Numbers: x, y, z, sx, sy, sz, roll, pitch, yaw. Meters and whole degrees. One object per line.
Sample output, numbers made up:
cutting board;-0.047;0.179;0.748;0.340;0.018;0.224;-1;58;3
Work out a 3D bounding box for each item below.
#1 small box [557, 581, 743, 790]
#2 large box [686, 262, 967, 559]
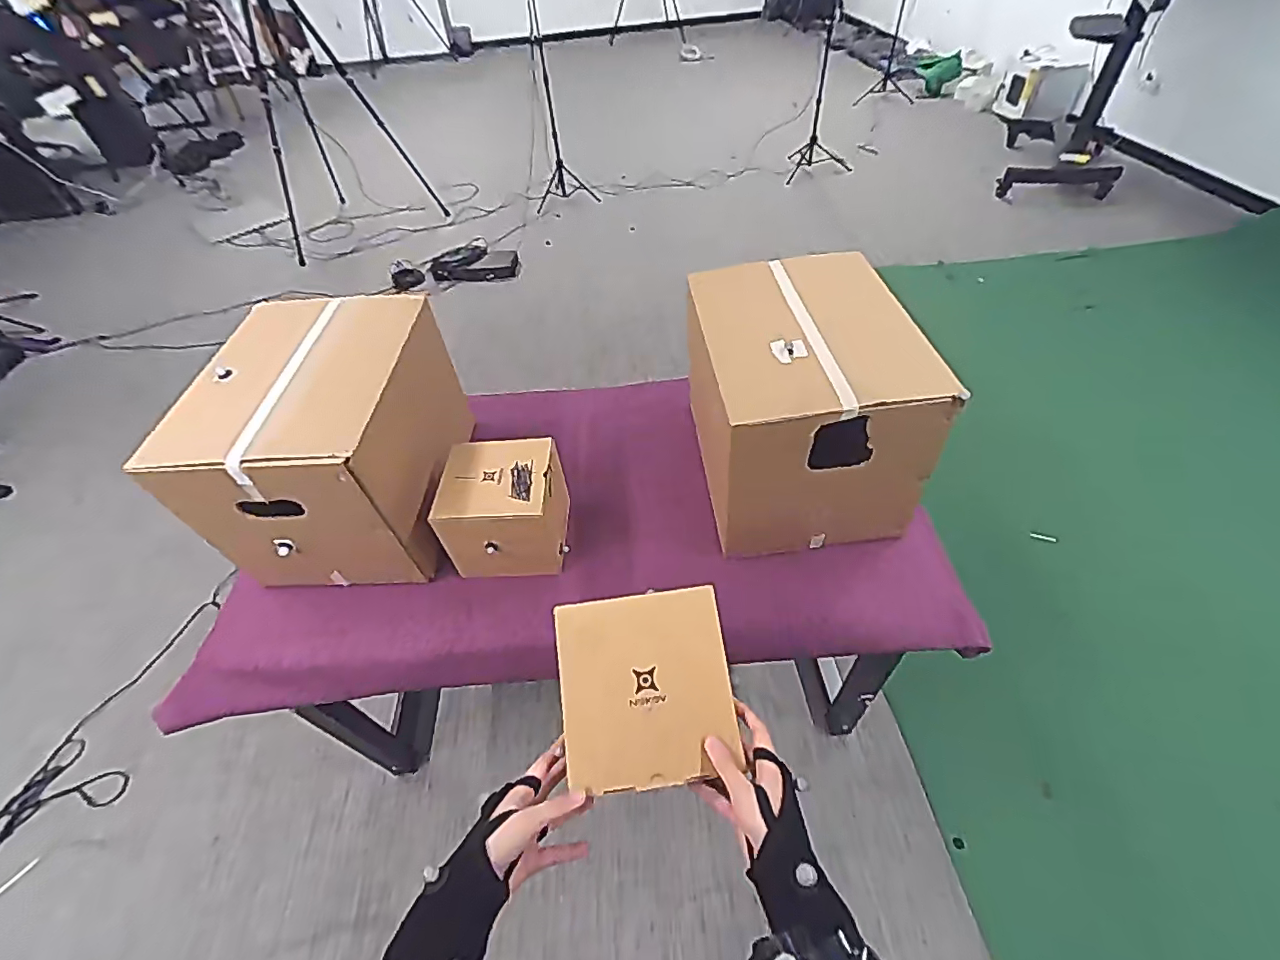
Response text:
small box;0.002;0.221;0.597;0.168;0.176;0.179;-7;69;-4
large box;0.266;-0.125;0.941;0.320;0.320;0.408;-8;48;1
